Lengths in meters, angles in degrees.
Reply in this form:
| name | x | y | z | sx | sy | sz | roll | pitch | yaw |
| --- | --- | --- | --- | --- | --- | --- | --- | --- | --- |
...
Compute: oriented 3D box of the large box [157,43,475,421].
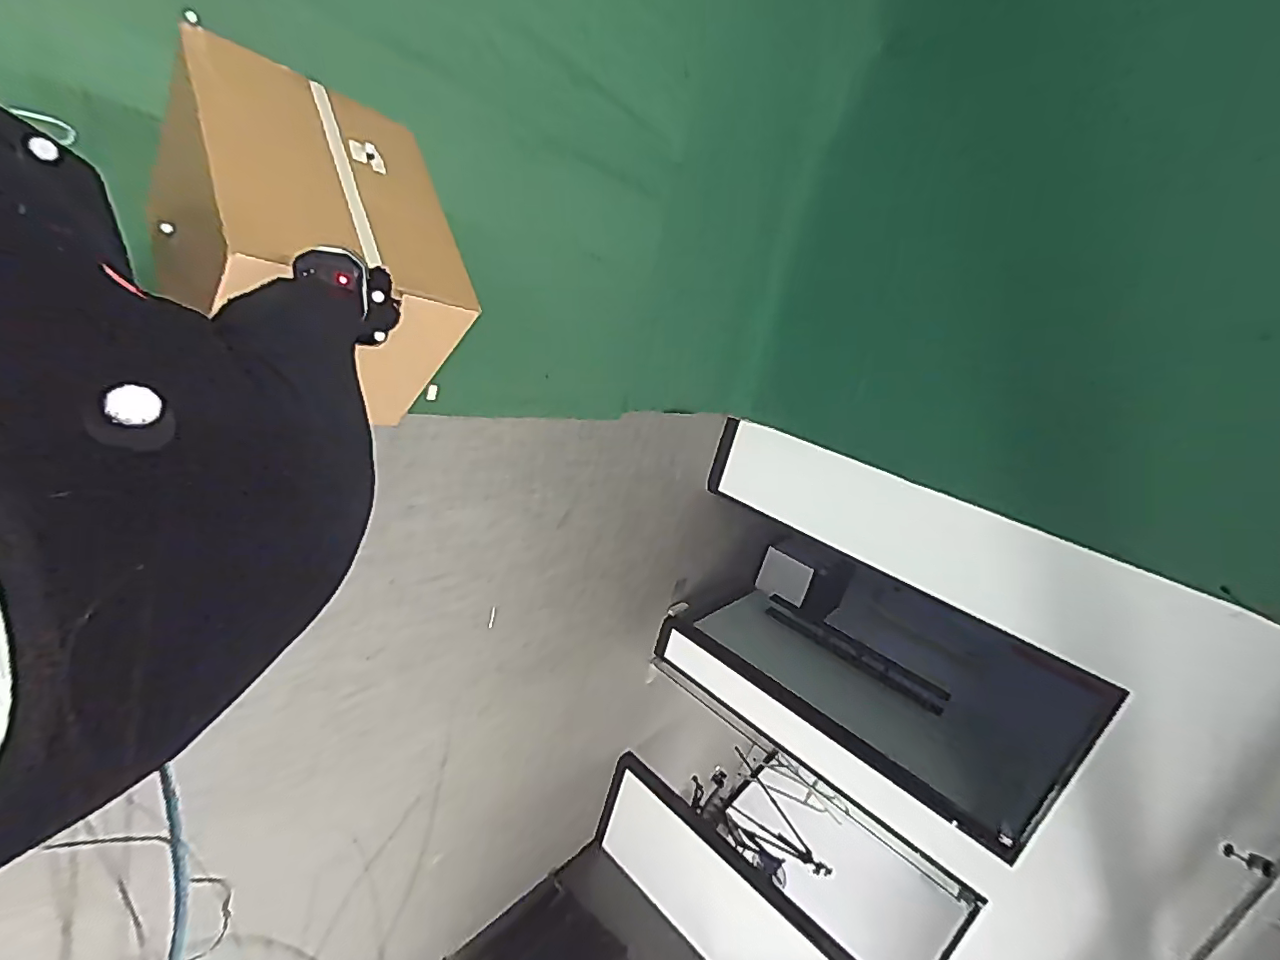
| name | x | y | z | sx | sy | sz | roll | pitch | yaw |
| --- | --- | --- | --- | --- | --- | --- | --- | --- | --- |
| large box | -0.525 | -0.342 | 0.858 | 0.320 | 0.408 | 0.320 | -38 | 158 | 34 |
